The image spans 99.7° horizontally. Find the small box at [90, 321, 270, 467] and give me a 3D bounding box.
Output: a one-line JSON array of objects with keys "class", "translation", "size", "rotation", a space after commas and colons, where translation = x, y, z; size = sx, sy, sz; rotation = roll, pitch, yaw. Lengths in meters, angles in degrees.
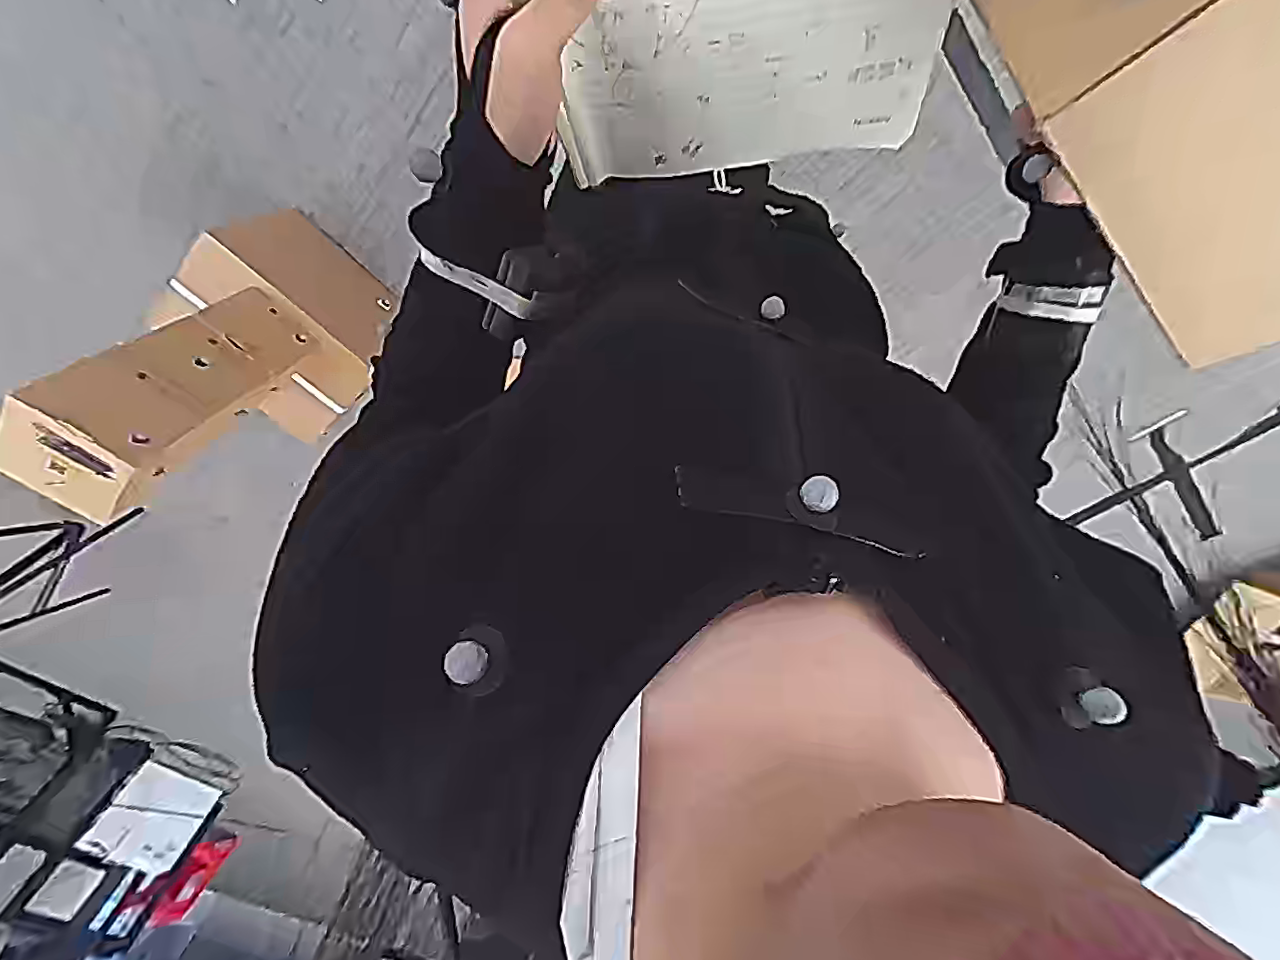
[{"class": "small box", "translation": [-0.834, -0.164, 1.000], "size": [0.179, 0.176, 0.168], "rotation": [-35, 115, 25]}]

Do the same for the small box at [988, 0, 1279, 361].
[{"class": "small box", "translation": [0.260, -0.186, 0.199], "size": [0.168, 0.176, 0.179], "rotation": [27, 143, -28]}]

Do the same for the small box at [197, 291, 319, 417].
[{"class": "small box", "translation": [-0.815, -0.264, 1.129], "size": [0.179, 0.176, 0.168], "rotation": [-32, 117, 25]}]
